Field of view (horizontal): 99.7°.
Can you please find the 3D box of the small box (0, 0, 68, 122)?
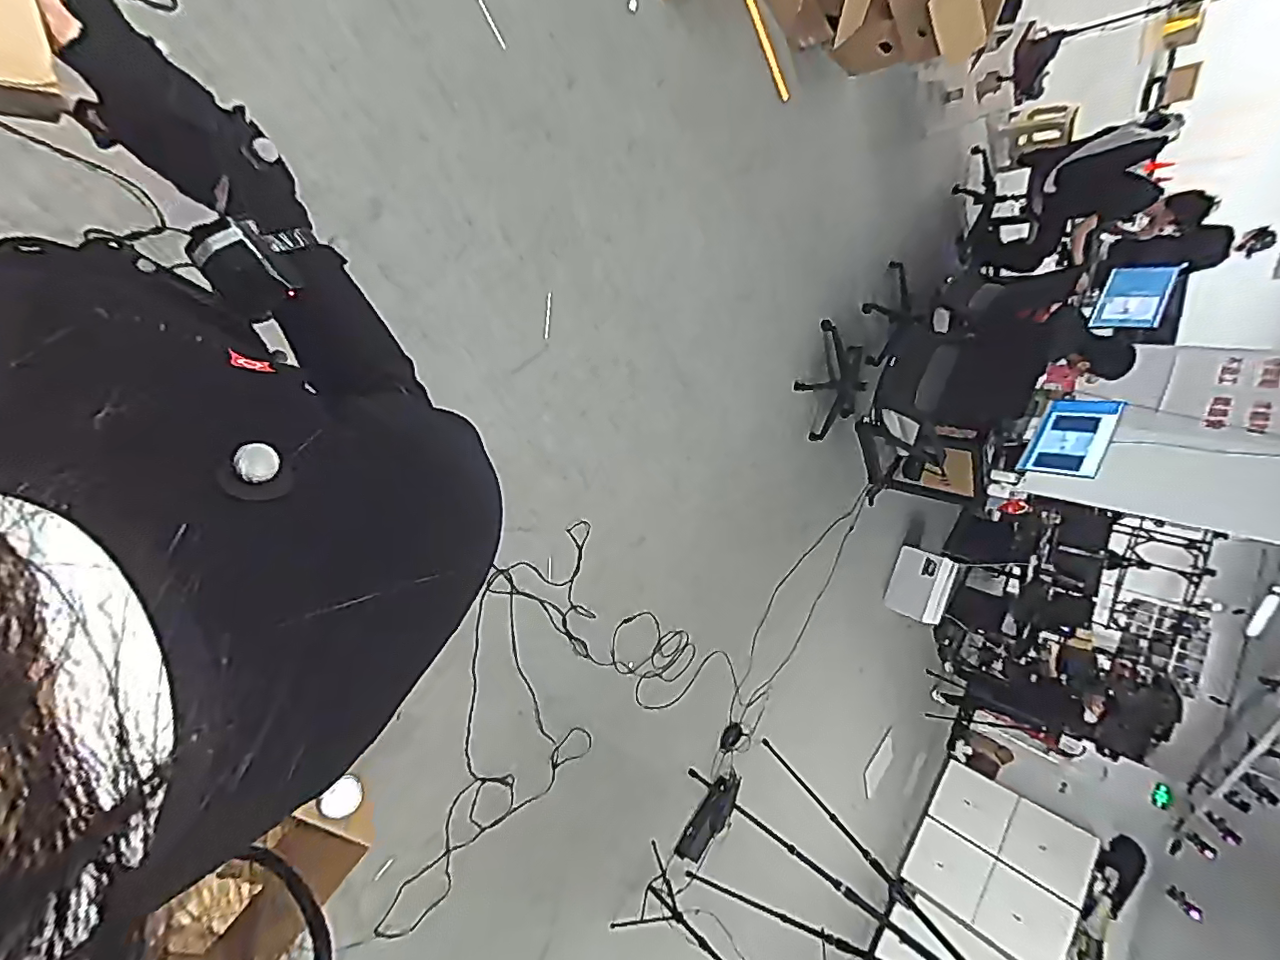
[{"bbox_3d":[-0.435,-0.305,0.272,0.168,0.176,0.179,-18,121,-41],"label":"small box"}]
